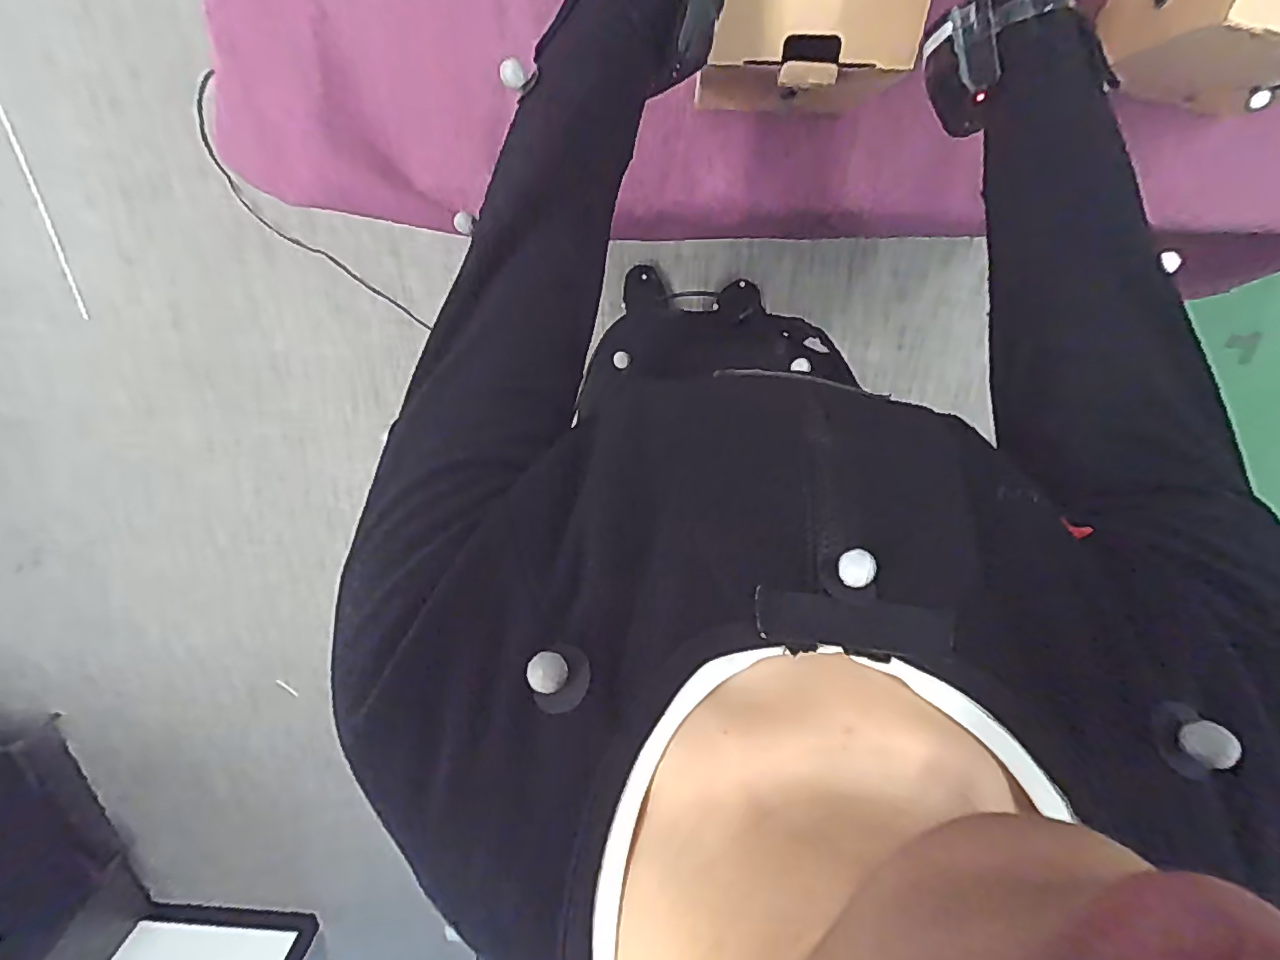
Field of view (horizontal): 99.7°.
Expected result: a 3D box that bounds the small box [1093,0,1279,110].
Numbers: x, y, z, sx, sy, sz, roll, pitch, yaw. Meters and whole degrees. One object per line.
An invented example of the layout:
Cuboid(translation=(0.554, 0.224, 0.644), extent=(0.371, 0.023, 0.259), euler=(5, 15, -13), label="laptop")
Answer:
Cuboid(translation=(0.526, -0.427, 0.434), extent=(0.168, 0.176, 0.179), euler=(12, 114, -2), label="small box")
